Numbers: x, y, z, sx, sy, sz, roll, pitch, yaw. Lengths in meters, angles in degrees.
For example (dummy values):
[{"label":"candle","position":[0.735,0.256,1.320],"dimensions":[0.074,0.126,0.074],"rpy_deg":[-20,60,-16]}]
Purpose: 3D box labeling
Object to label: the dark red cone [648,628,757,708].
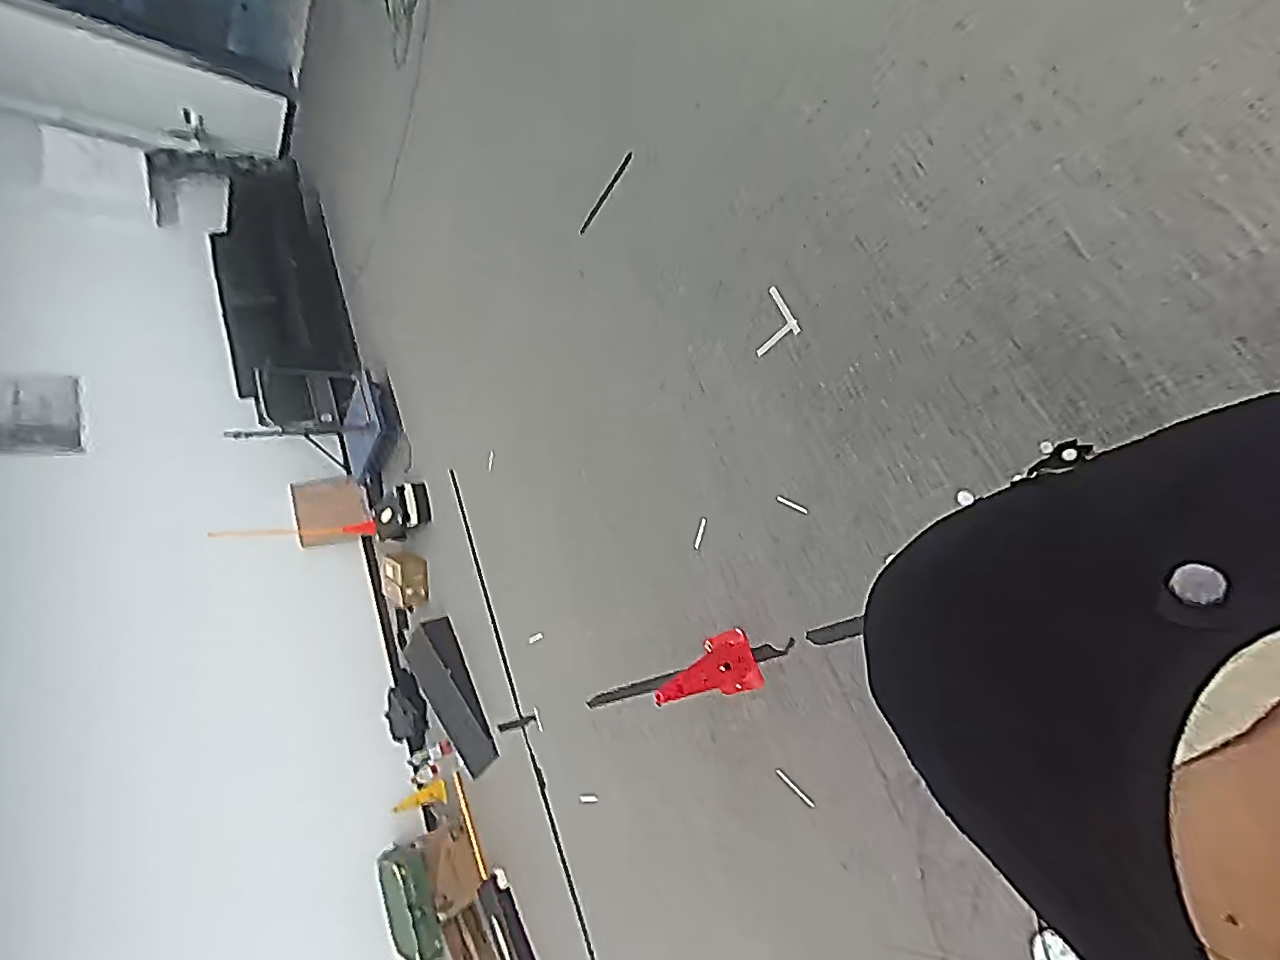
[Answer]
[{"label":"dark red cone","position":[0.174,0.631,1.717],"dimensions":[0.202,0.394,0.201],"rpy_deg":[-38,68,43]}]
